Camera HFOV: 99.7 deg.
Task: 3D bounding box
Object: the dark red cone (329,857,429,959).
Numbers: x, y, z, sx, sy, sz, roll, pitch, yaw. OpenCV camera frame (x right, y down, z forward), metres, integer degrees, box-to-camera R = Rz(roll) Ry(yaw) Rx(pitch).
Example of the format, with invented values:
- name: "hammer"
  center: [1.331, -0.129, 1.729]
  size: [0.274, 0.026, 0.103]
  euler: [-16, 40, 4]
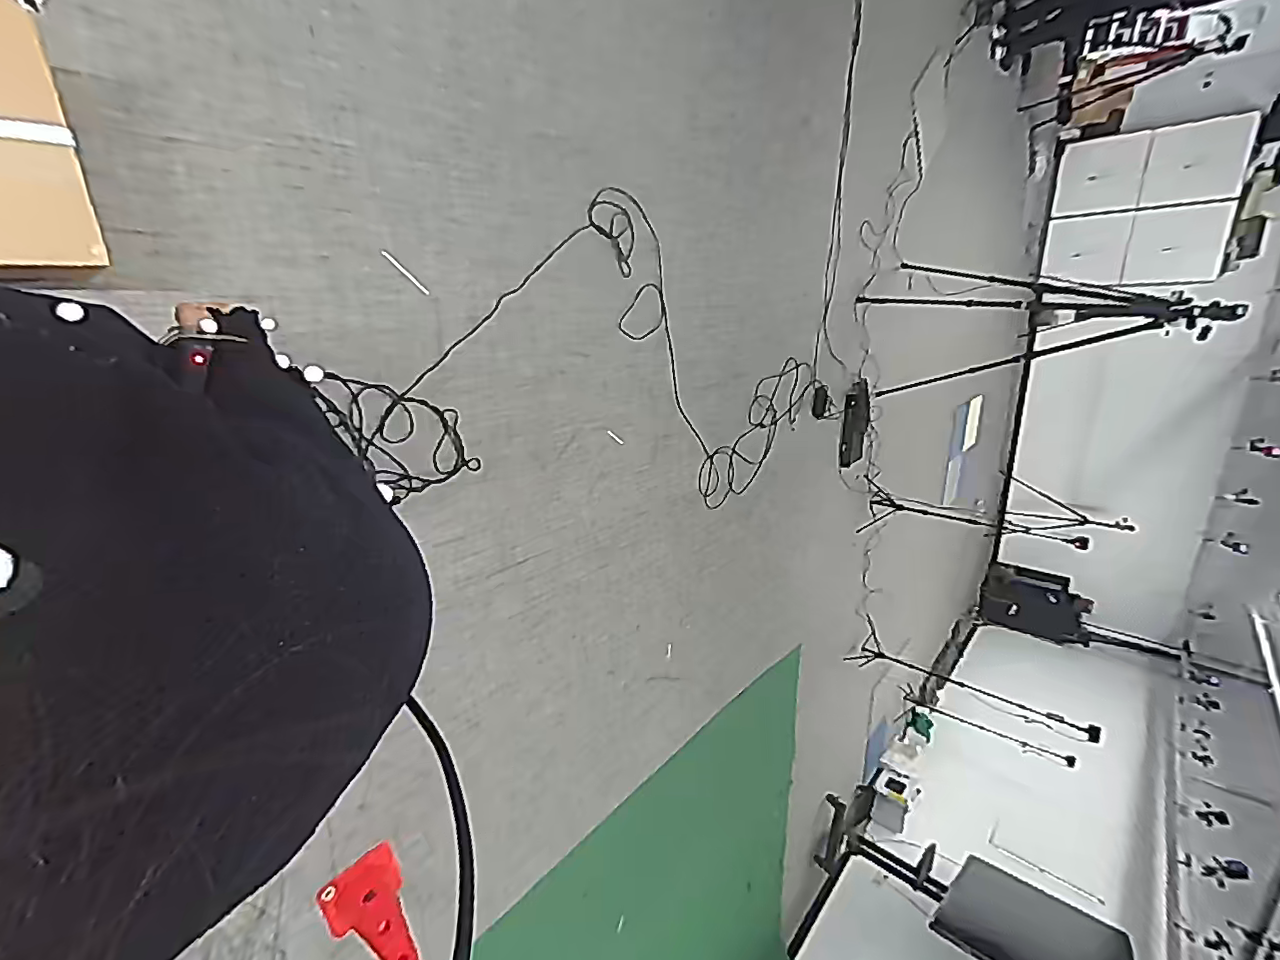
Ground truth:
- name: "dark red cone"
  center: [-0.616, 1.205, 1.390]
  size: [0.202, 0.394, 0.201]
  euler: [-27, 122, -41]
